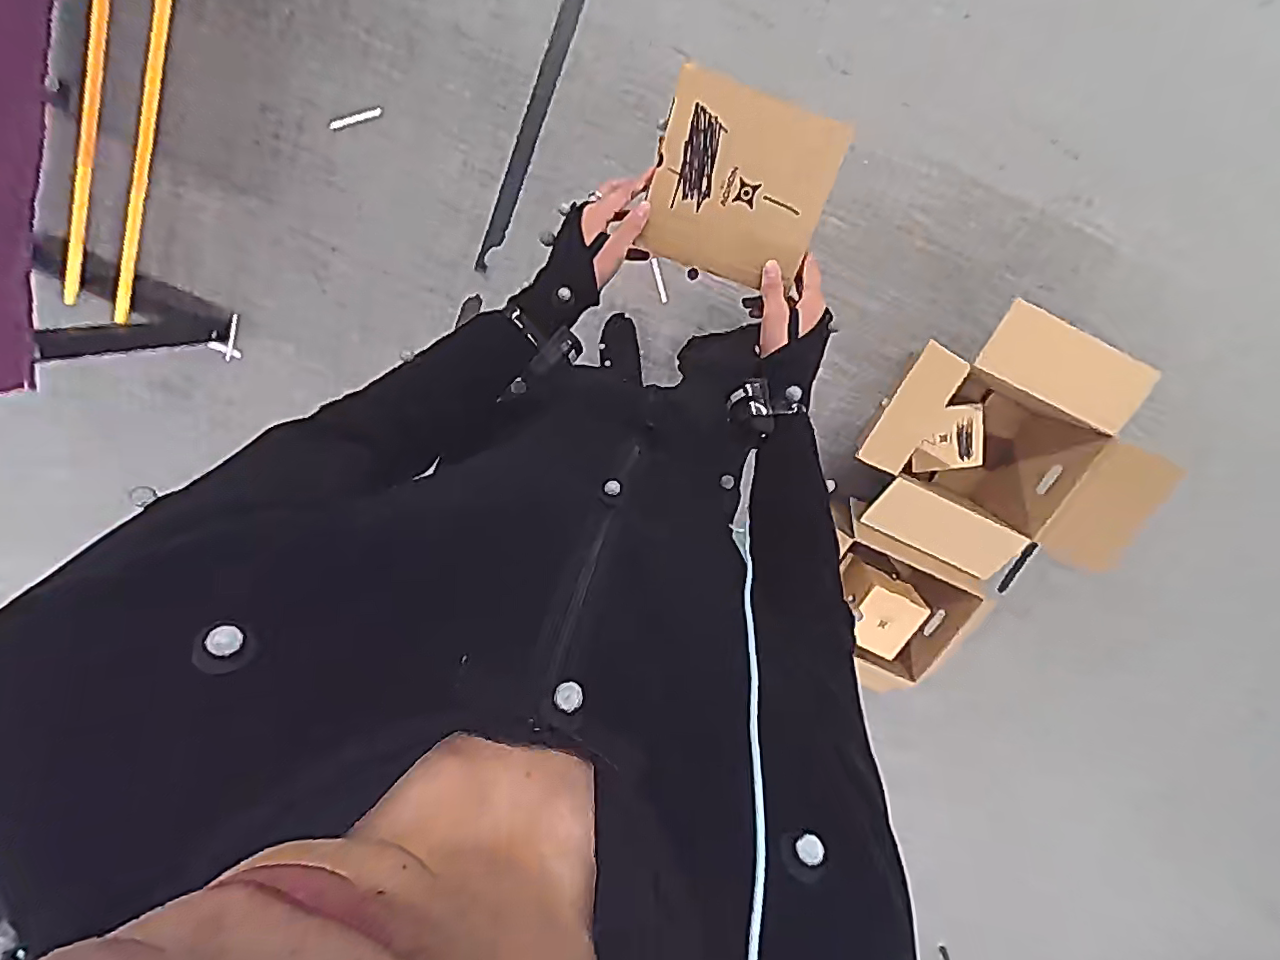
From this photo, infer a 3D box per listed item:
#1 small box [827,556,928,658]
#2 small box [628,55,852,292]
[{"bbox_3d":[0.634,0.341,1.474,0.168,0.176,0.179,26,109,-5],"label":"small box"},{"bbox_3d":[0.094,-0.322,0.601,0.179,0.176,0.168,16,114,-7],"label":"small box"}]
